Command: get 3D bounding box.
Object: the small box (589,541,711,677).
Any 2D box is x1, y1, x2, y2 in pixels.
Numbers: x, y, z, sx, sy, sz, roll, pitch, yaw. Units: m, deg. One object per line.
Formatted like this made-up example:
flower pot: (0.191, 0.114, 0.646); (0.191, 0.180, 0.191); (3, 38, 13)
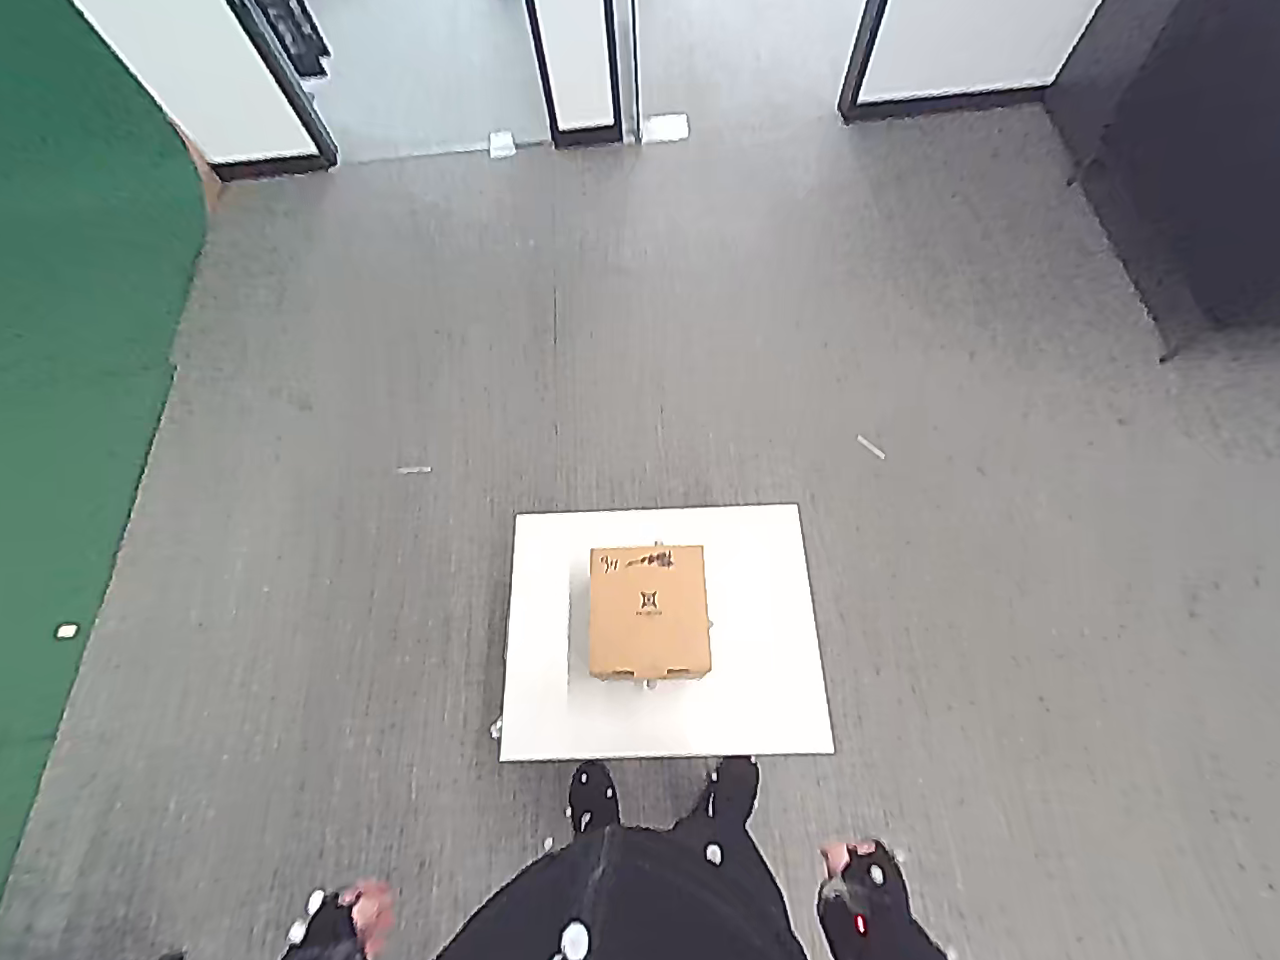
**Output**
small box: (0.016, 0.205, 0.828); (0.168, 0.176, 0.179); (-4, 66, 1)
